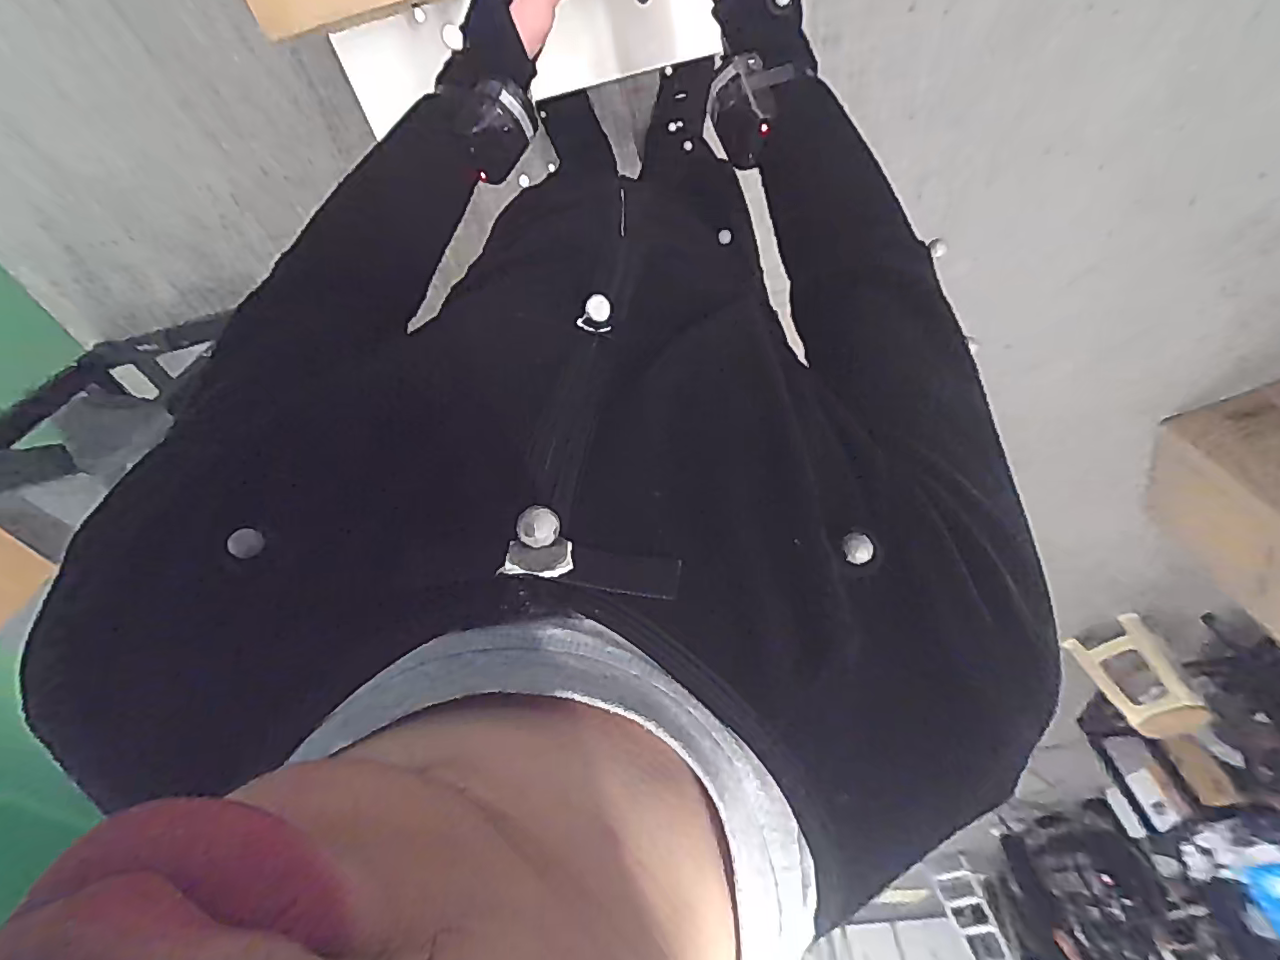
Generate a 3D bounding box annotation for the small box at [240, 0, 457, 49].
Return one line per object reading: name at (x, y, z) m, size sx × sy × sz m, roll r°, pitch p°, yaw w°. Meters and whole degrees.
small box at (-0.282, -0.523, 0.496) m, size 0.179 × 0.176 × 0.168 m, roll -13°, pitch 130°, yaw 5°
